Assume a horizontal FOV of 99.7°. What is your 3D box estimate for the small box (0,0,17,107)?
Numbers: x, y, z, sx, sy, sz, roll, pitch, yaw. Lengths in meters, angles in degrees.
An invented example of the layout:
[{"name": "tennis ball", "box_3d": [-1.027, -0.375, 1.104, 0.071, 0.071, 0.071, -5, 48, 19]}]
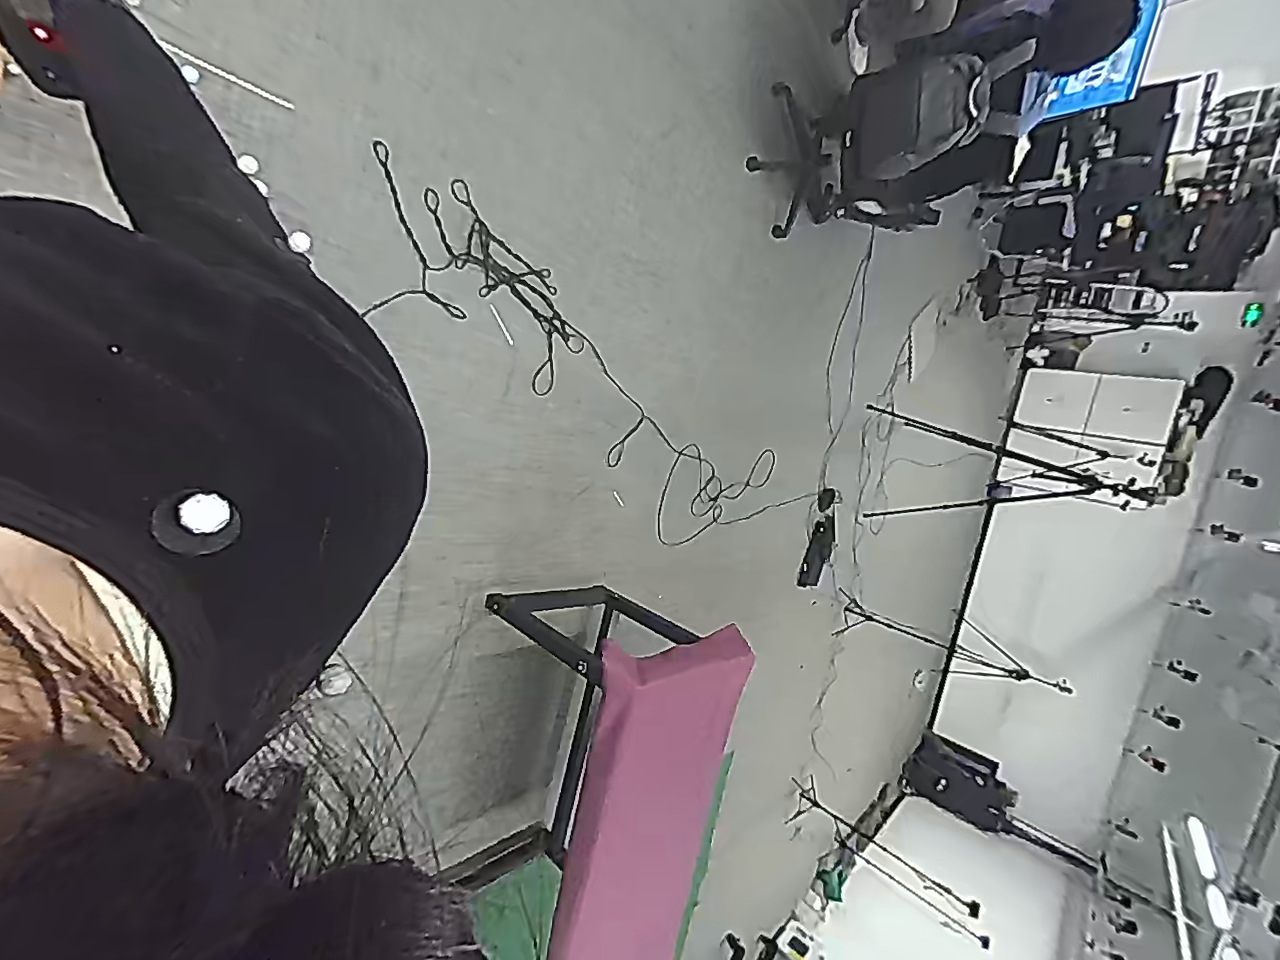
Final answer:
[{"name": "small box", "box_3d": [-1.069, -0.694, 0.802, 0.179, 0.176, 0.168, 4, 100, -48]}]
